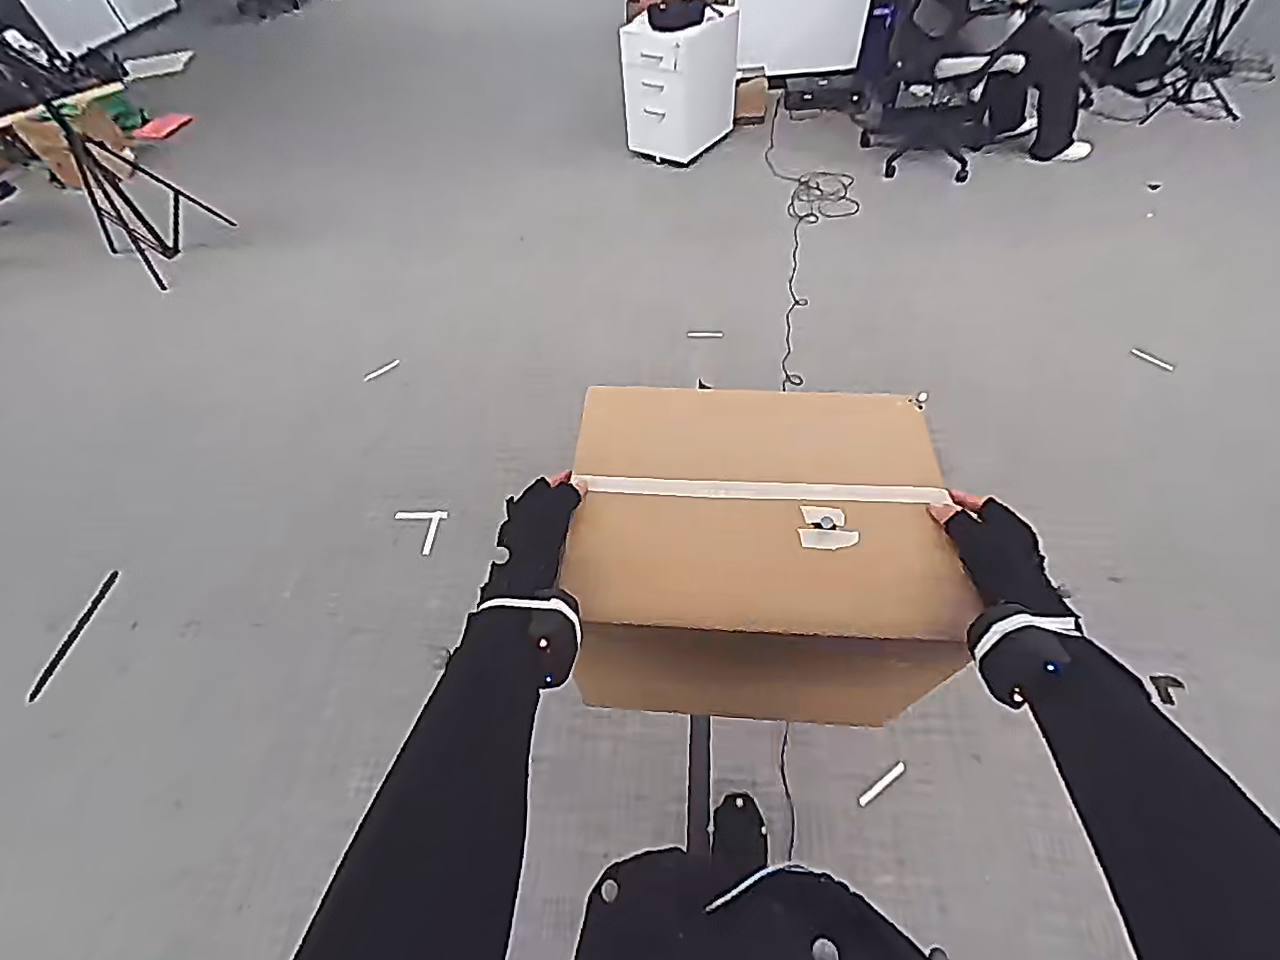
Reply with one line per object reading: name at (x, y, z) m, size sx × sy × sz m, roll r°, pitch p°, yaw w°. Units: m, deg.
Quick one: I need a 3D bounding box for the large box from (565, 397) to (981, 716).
large box at (0.132, 0.108, 0.719) m, size 0.408 × 0.320 × 0.320 m, roll 2°, pitch 53°, yaw 3°
